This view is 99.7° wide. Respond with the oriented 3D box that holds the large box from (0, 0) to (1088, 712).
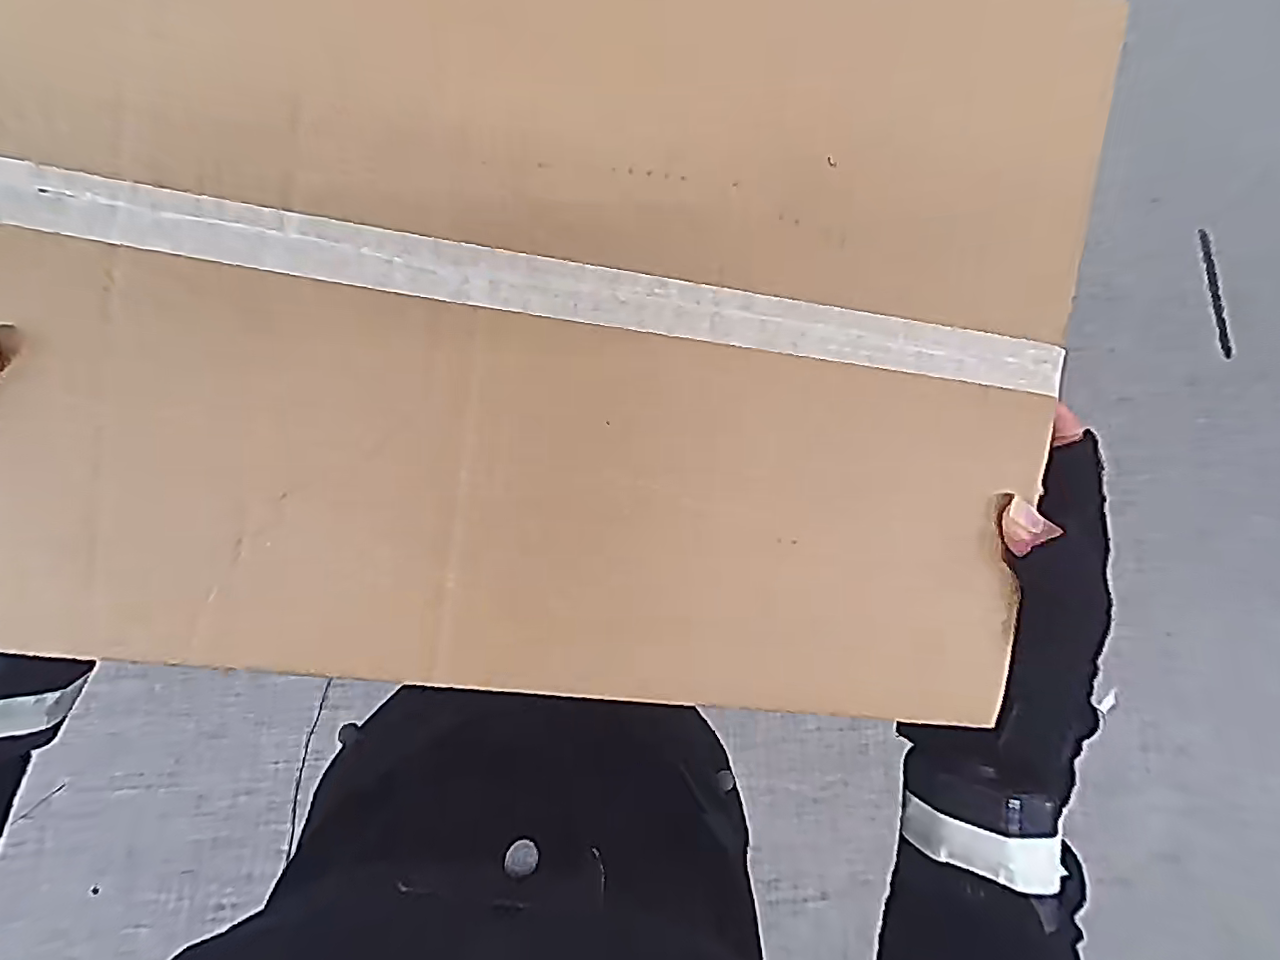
[{"bbox_3d":[-0.040,-0.078,0.363,0.408,0.320,0.320,8,93,-8],"label":"large box"}]
